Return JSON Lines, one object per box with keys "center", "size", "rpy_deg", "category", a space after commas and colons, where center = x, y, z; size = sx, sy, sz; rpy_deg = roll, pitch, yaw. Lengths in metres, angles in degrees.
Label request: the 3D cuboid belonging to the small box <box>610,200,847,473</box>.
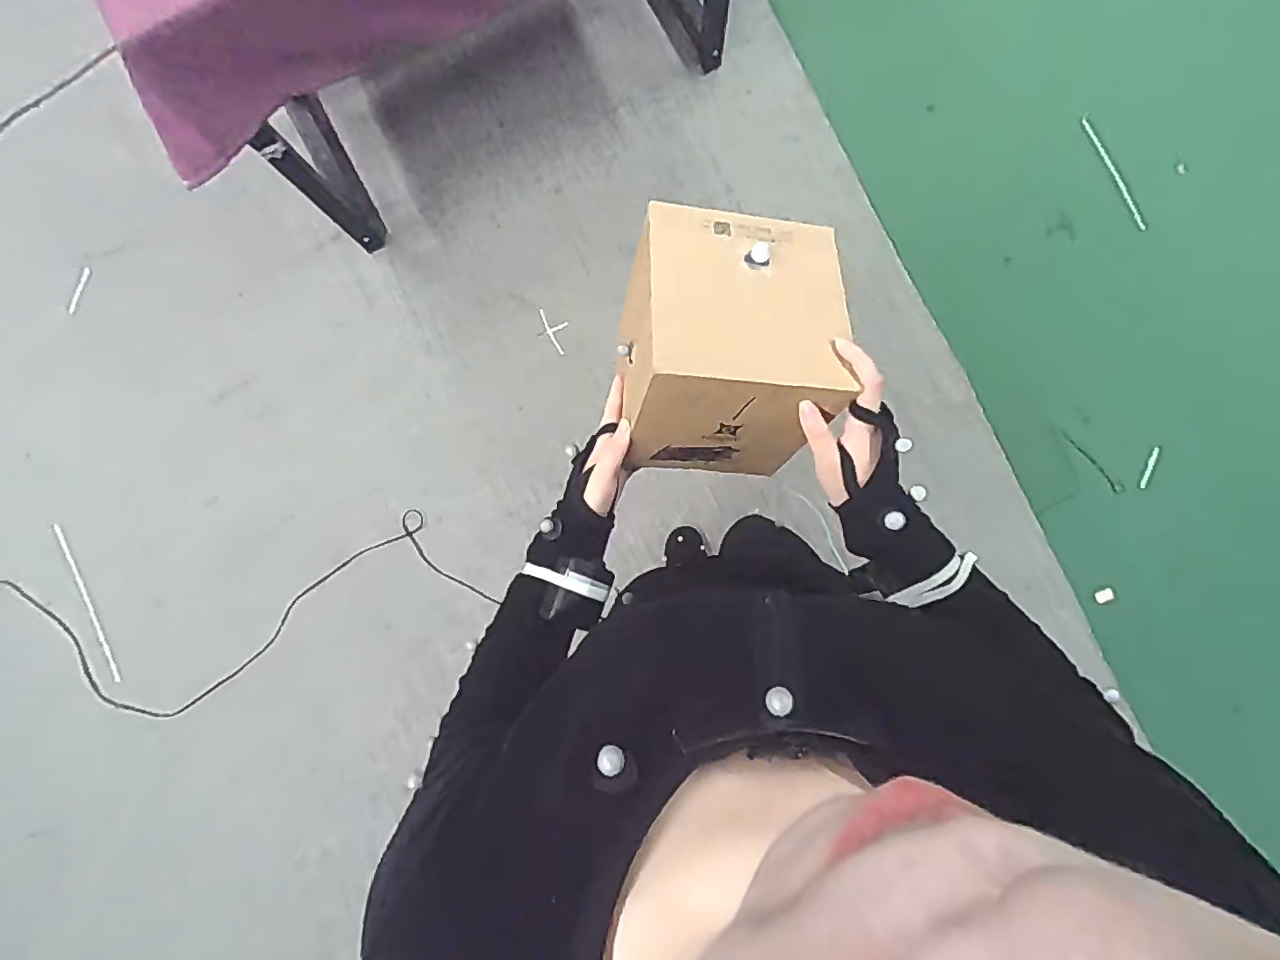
{"center": [0.065, -0.120, 0.505], "size": [0.168, 0.179, 0.176], "rpy_deg": [3, 67, -10], "category": "small box"}
